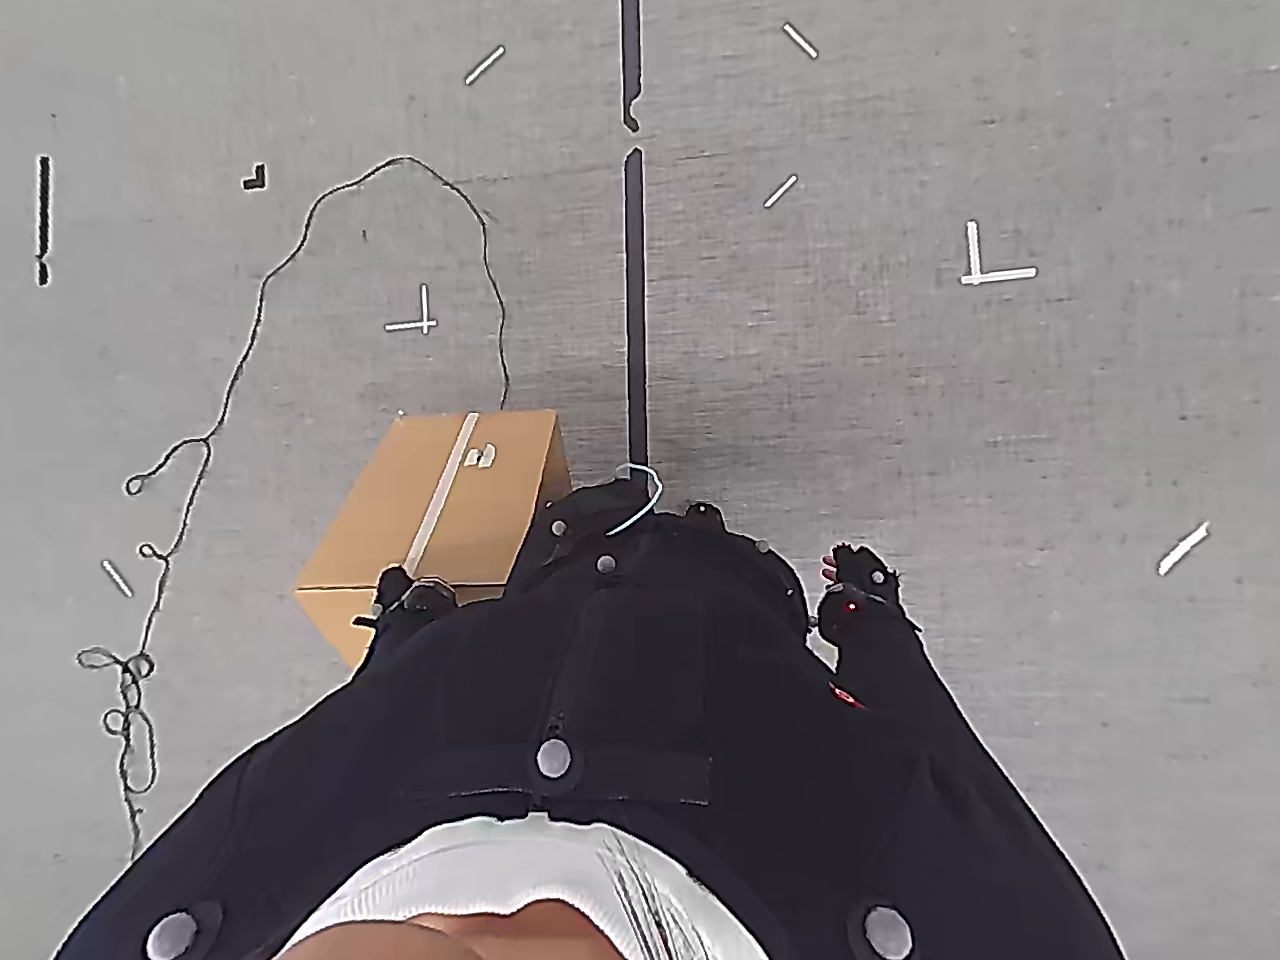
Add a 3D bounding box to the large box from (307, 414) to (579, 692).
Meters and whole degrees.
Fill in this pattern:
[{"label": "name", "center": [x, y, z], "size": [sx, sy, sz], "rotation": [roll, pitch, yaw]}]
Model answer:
[{"label": "large box", "center": [-0.303, 0.126, 0.988], "size": [0.320, 0.408, 0.320], "rotation": [-1, 132, 4]}]
